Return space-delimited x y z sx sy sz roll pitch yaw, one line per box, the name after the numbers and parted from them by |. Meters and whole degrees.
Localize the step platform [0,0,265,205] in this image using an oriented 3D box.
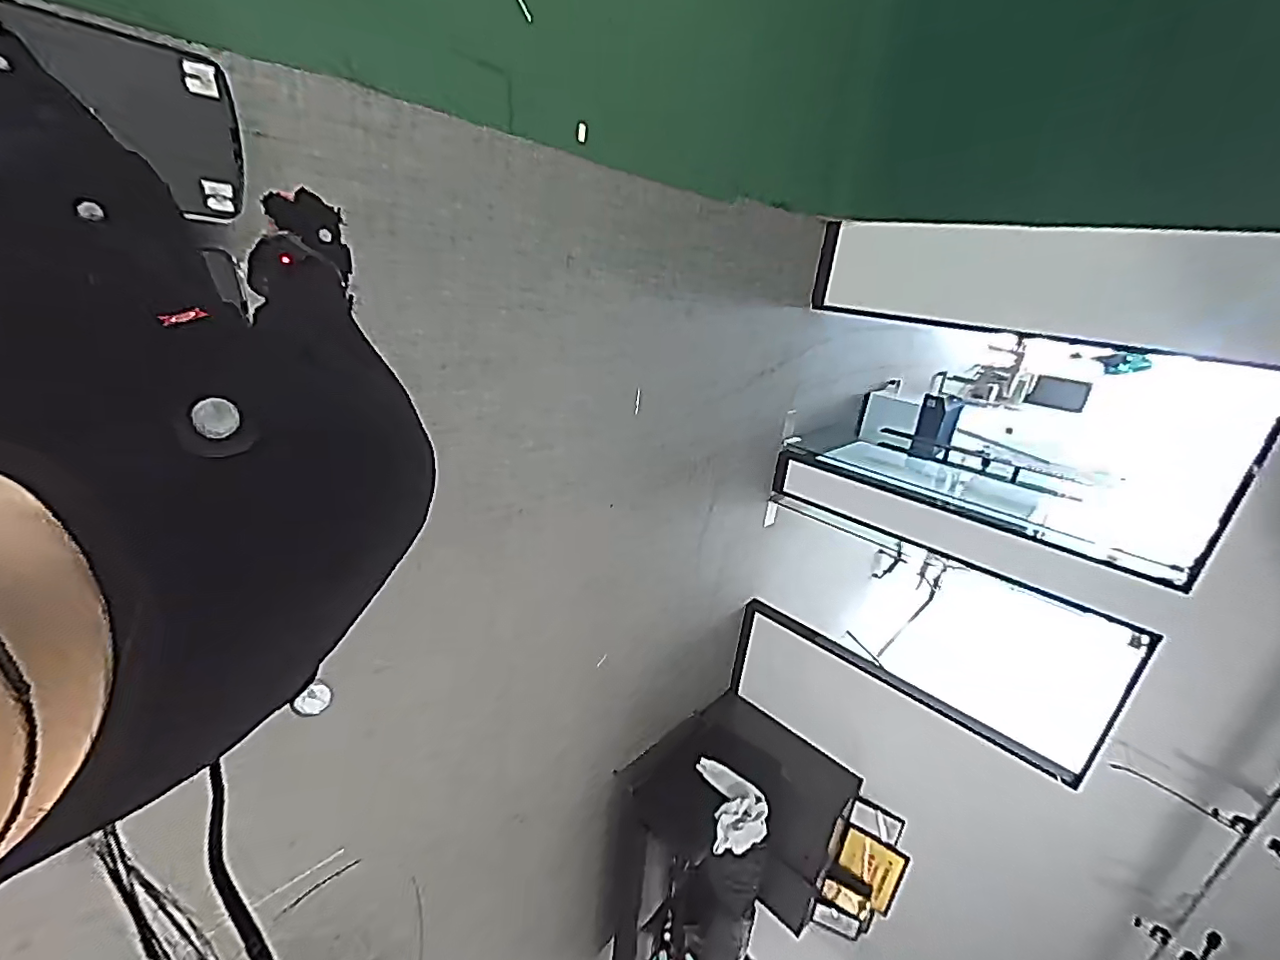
-0.938 -0.580 0.733 0.684 0.204 0.286 -15 121 -44 | step platform
